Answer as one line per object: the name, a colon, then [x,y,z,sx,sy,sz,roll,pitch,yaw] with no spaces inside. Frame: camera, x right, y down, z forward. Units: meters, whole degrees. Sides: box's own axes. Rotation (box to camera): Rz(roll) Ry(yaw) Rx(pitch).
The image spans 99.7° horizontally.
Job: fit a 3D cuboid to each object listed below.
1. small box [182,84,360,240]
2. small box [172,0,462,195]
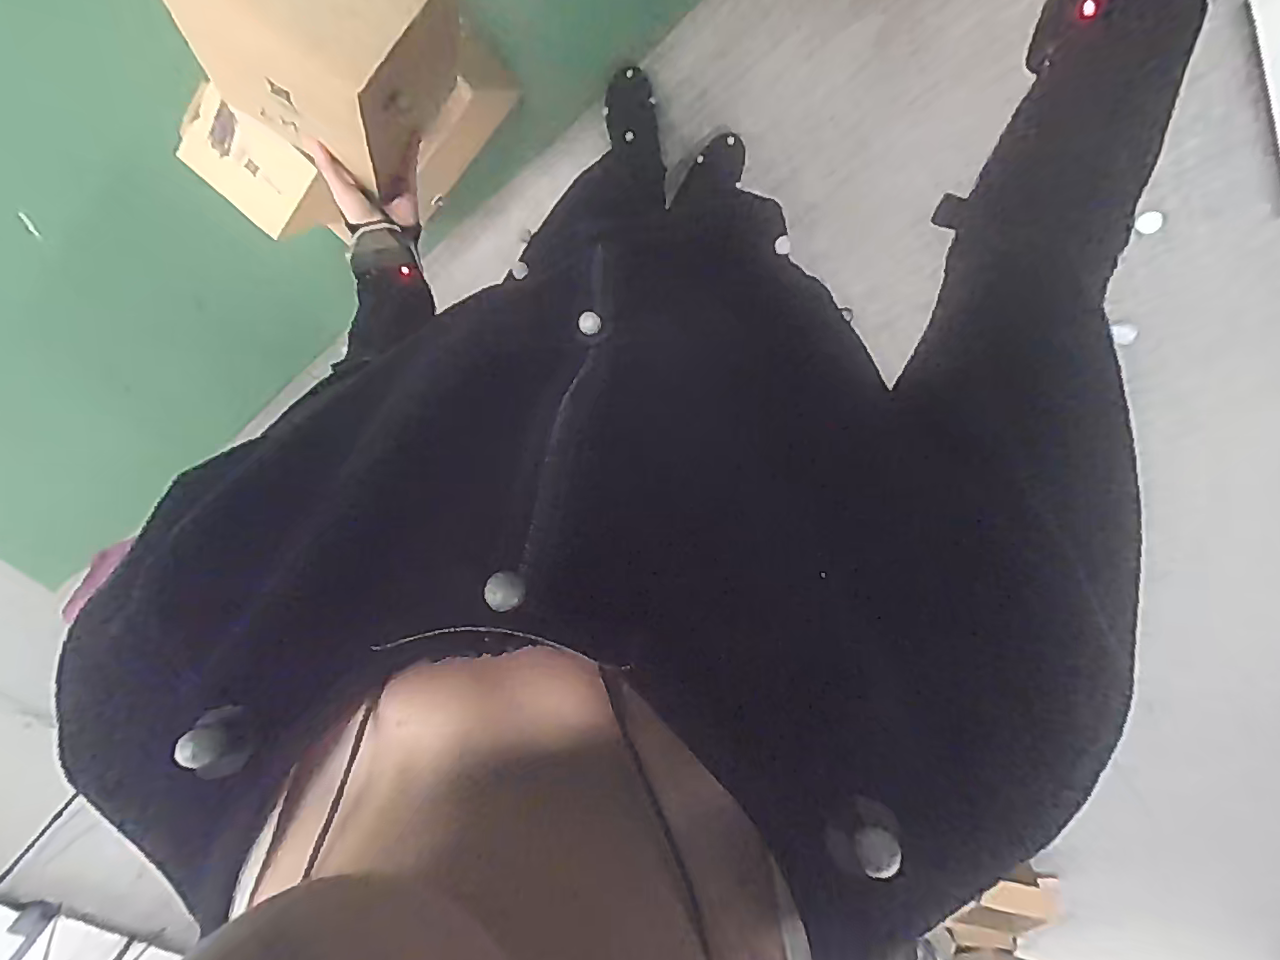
small box: [-0.616,-0.553,0.933,0.168,0.176,0.179,-34,115,27]
small box: [-0.277,-0.416,0.490,0.168,0.179,0.176,31,79,-18]
